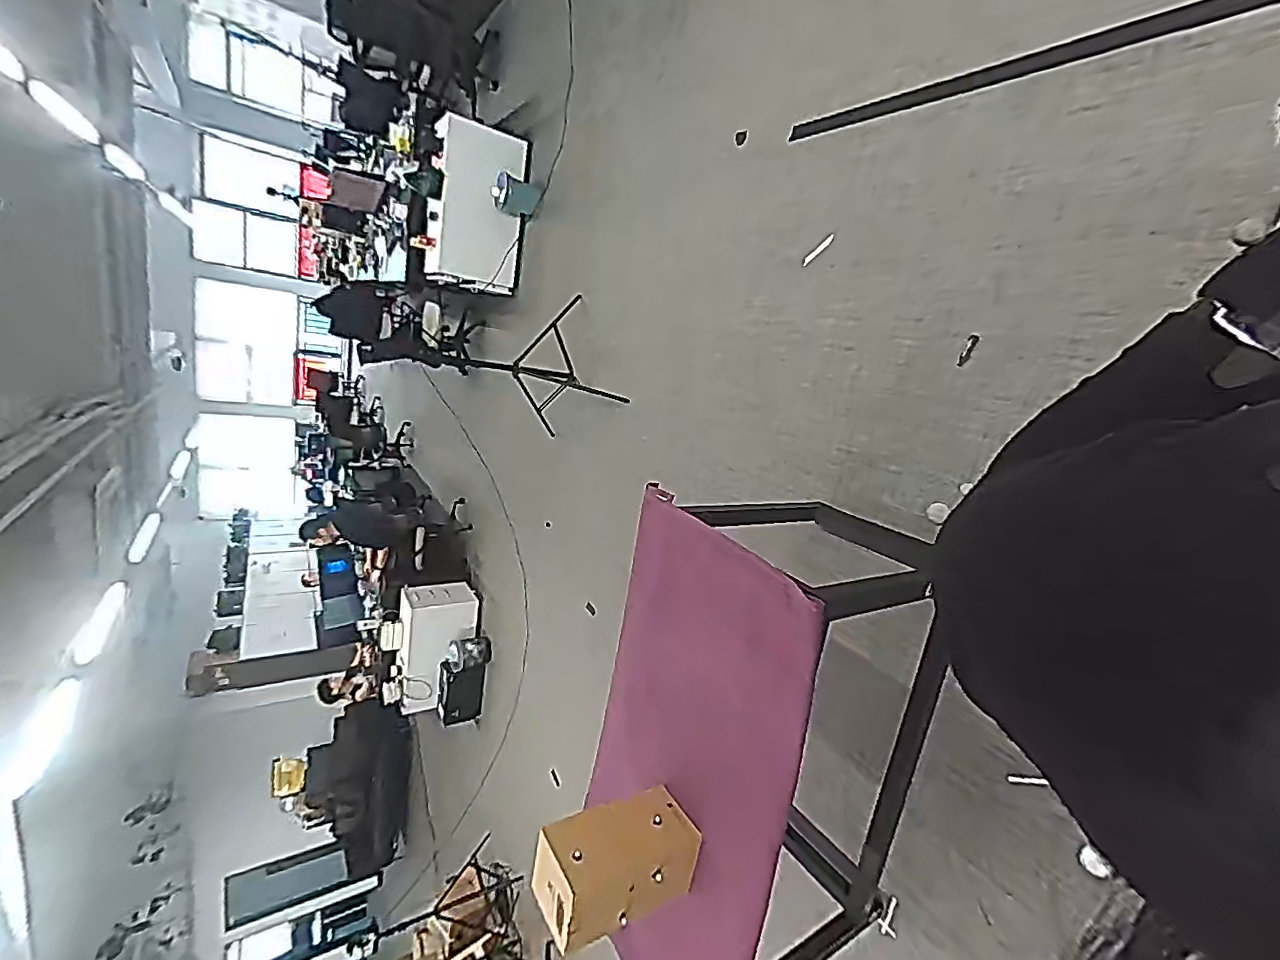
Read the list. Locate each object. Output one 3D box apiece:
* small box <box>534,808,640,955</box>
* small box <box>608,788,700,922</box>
[{"bbox_3d":[-0.118,0.876,1.202,0.179,0.176,0.168,27,111,54],"label":"small box"},{"bbox_3d":[0.022,0.880,1.288,0.168,0.176,0.179,30,114,53],"label":"small box"}]
